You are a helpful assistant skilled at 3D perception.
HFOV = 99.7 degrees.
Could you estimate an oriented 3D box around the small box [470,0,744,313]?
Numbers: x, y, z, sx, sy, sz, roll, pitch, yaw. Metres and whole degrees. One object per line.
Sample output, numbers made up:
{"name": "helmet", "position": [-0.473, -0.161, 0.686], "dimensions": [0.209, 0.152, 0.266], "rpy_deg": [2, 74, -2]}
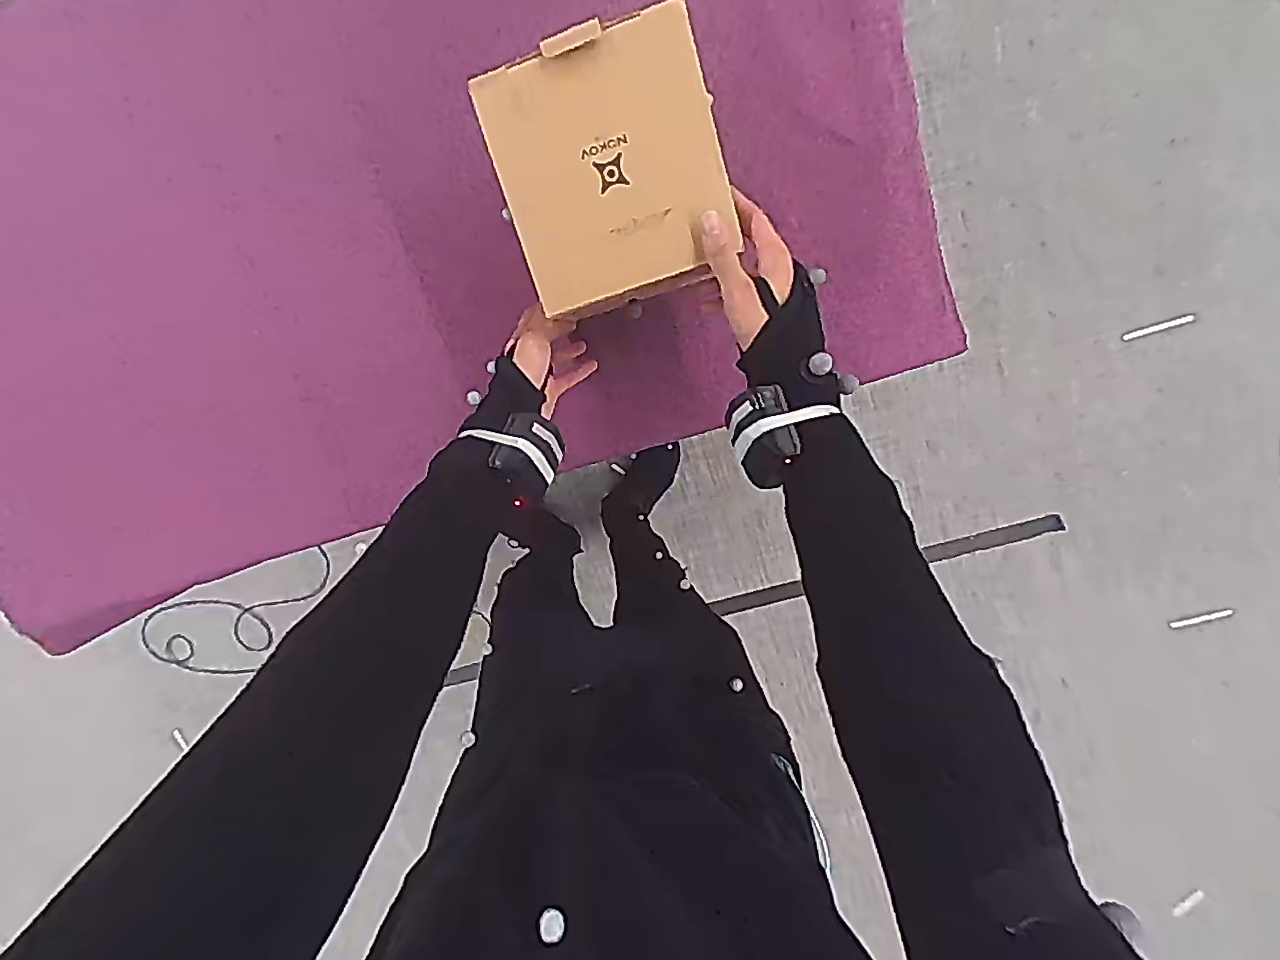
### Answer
{"name": "small box", "position": [-0.019, -0.255, 0.471], "dimensions": [0.168, 0.176, 0.179], "rpy_deg": [-15, 104, 7]}
